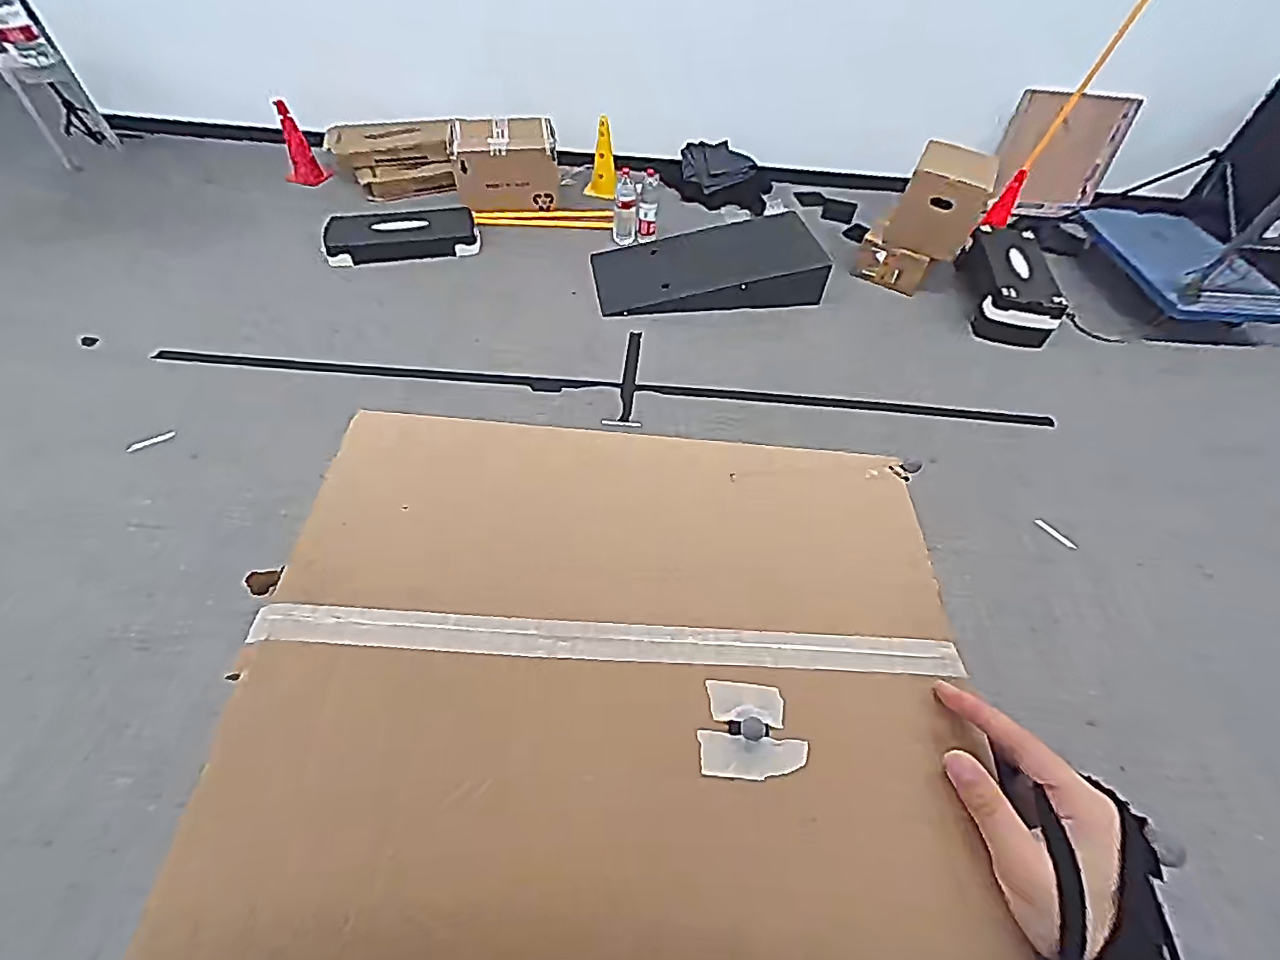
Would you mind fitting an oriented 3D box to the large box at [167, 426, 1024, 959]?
[{"bbox_3d":[-0.024,0.182,0.451,0.408,0.320,0.320,5,57,-5],"label":"large box"}]
